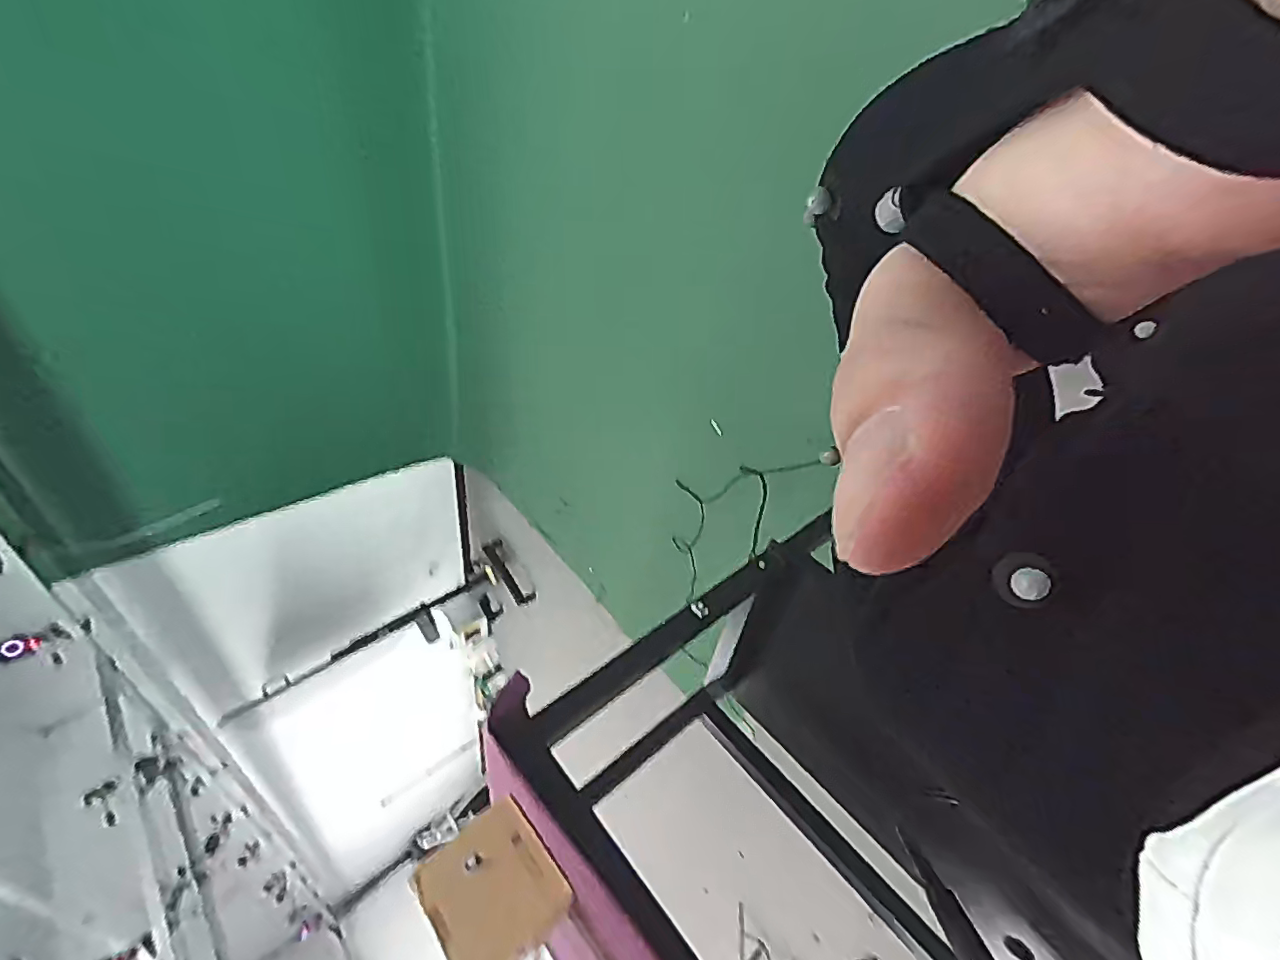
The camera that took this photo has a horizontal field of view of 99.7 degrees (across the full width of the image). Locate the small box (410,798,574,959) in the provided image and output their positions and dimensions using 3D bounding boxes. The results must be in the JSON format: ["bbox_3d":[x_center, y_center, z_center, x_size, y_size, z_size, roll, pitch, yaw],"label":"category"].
[{"bbox_3d":[-0.212,0.616,0.800,0.168,0.176,0.179,40,139,30],"label":"small box"}]
